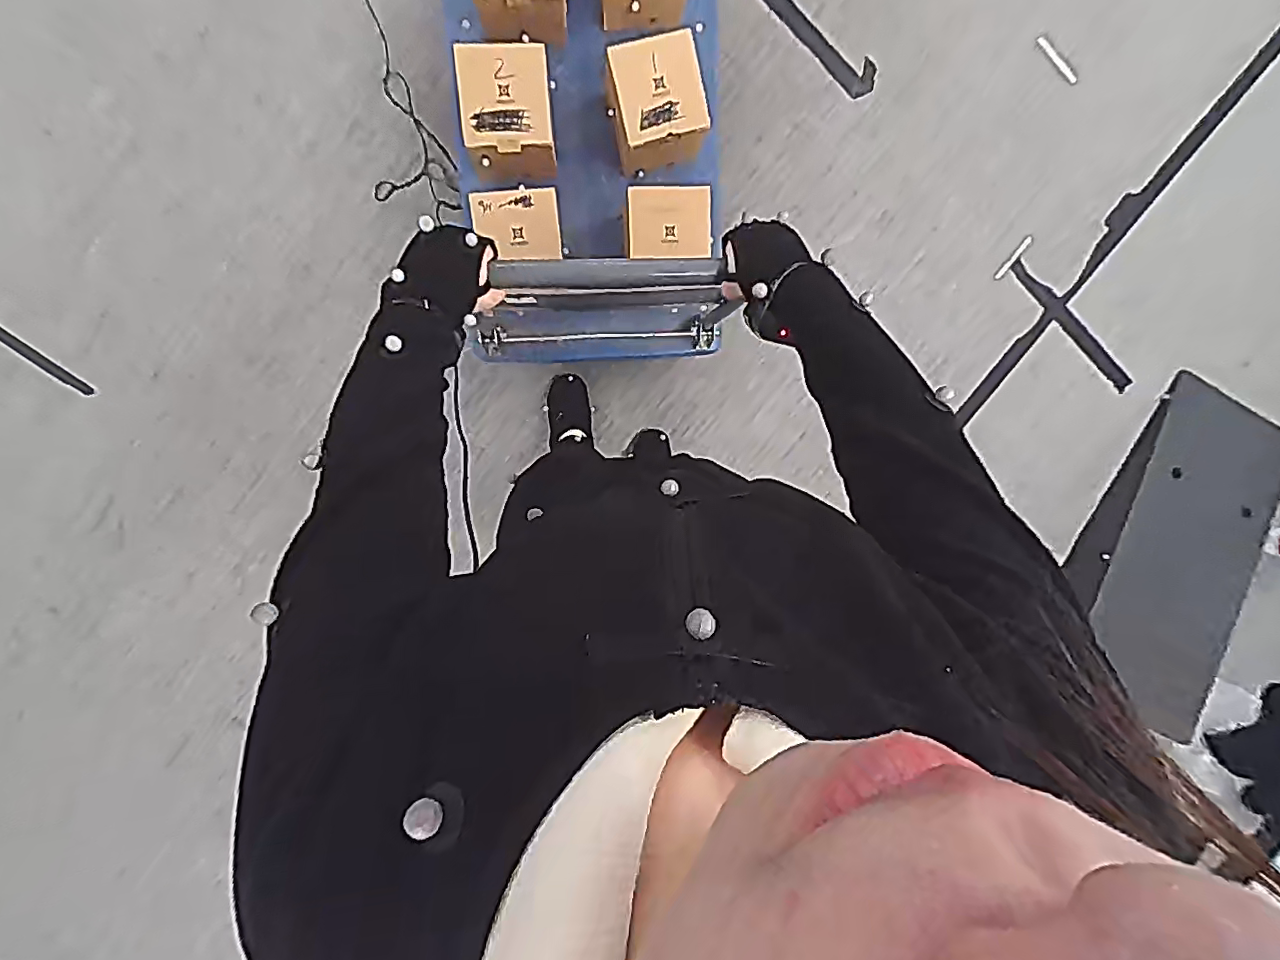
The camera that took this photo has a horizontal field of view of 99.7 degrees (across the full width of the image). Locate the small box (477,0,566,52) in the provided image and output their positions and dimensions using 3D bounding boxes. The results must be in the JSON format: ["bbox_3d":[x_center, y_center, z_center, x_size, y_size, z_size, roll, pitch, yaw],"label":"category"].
[{"bbox_3d":[-0.230,-0.975,1.039,0.168,0.176,0.179,-1,101,-5],"label":"small box"}]

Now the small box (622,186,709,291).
[{"bbox_3d":[0.050,-0.505,1.153,0.168,0.176,0.179,-3,100,-5],"label":"small box"}]

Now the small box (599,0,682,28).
[{"bbox_3d":[0.000,-1.024,1.053,0.168,0.176,0.179,-6,101,-4],"label":"small box"}]

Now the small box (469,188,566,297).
[{"bbox_3d":[-0.247,-0.484,1.127,0.168,0.176,0.179,-7,101,-5],"label":"small box"}]

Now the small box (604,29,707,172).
[{"bbox_3d":[0.026,-0.757,1.104,0.168,0.176,0.179,-15,101,-3],"label":"small box"}]
